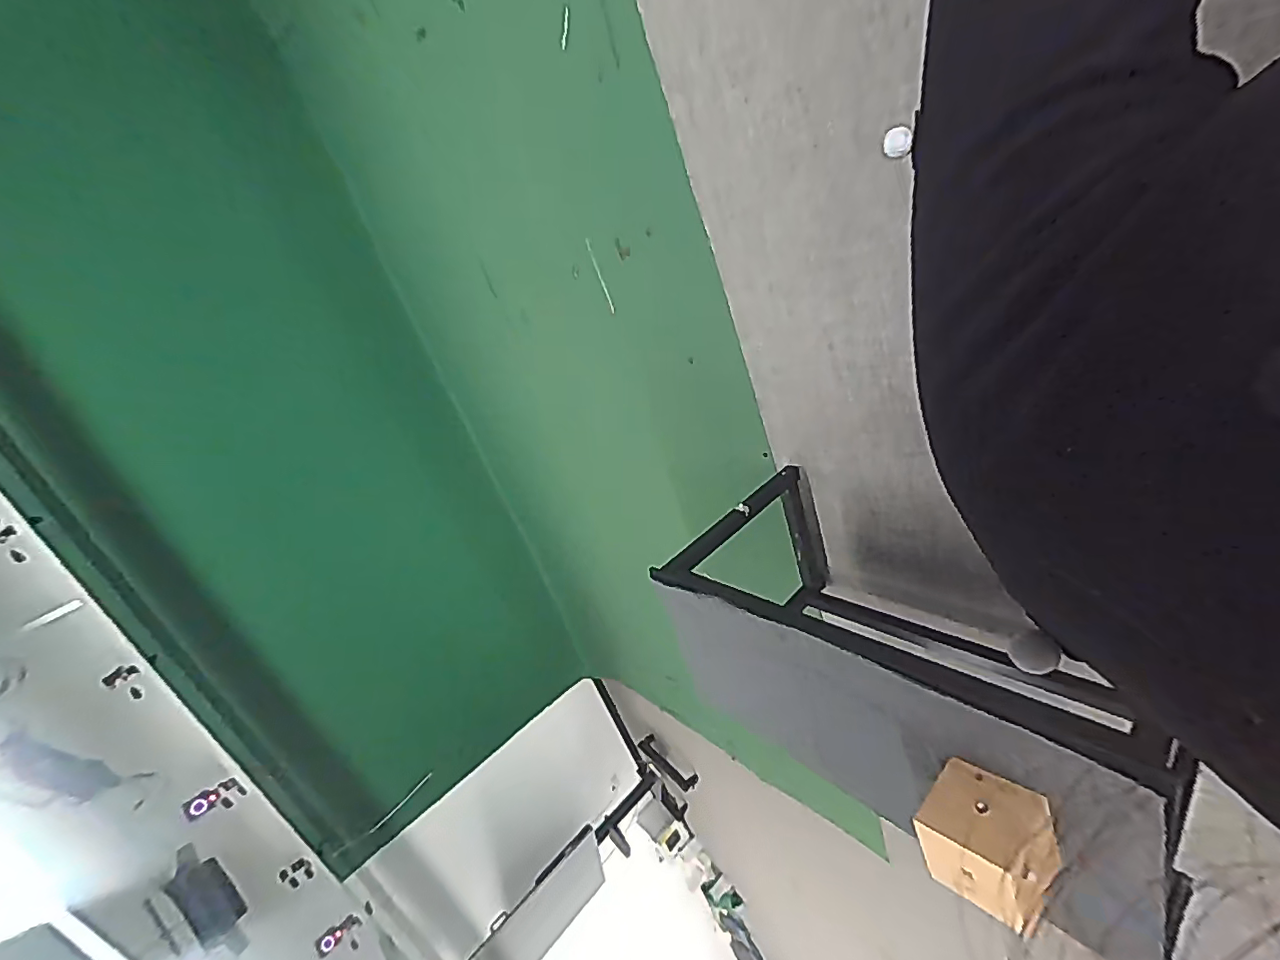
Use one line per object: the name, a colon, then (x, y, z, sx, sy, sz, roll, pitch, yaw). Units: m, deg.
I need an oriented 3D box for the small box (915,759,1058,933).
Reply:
small box: (0.653, 0.671, 1.016, 0.168, 0.176, 0.179, 4, 123, 55)
